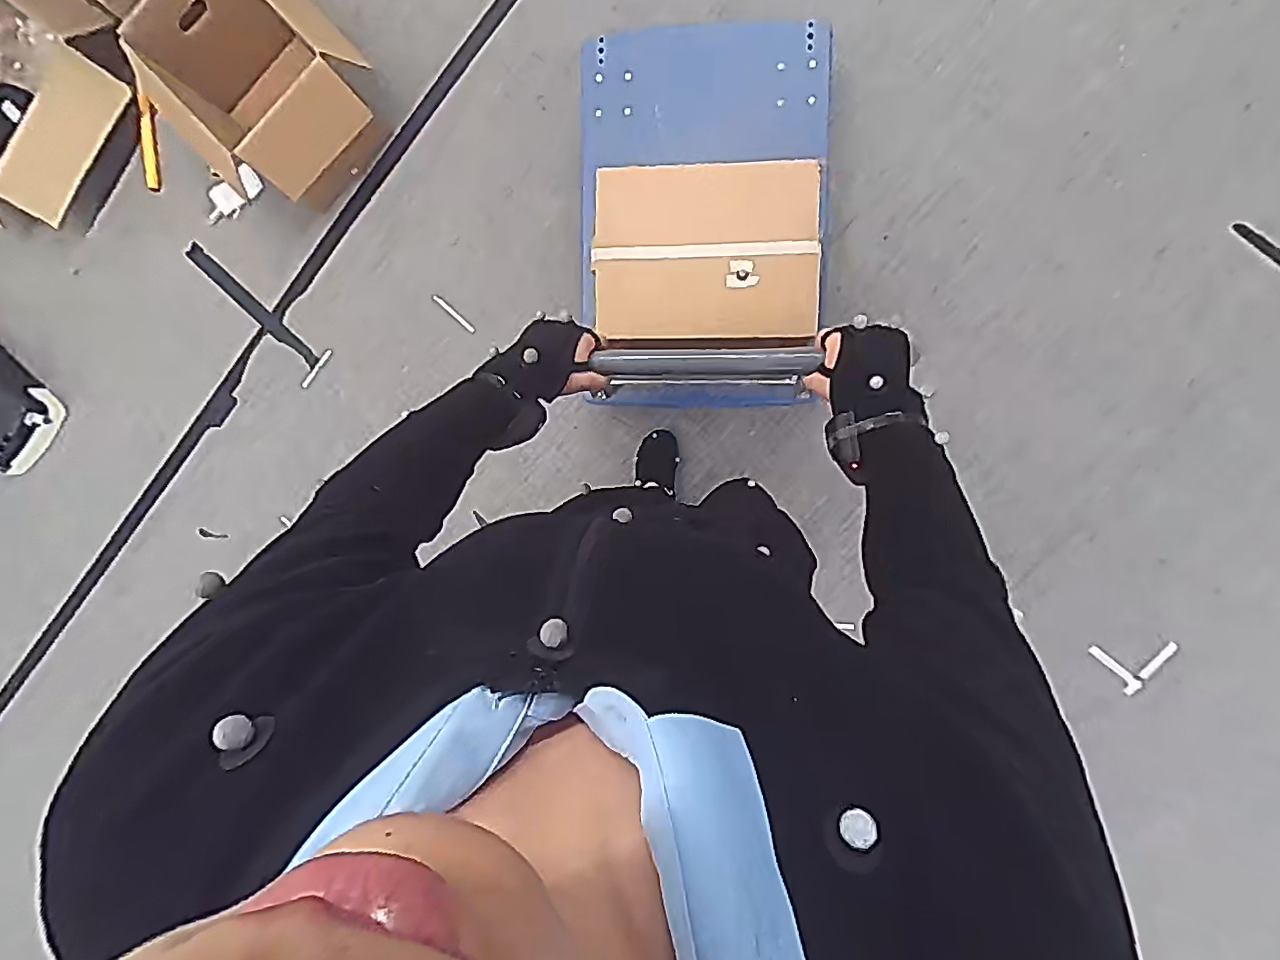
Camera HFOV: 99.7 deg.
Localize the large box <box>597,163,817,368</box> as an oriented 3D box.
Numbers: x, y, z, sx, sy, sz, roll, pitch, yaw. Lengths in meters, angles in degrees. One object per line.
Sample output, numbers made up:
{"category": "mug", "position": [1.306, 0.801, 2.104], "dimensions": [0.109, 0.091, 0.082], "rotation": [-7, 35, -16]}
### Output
{"category": "large box", "position": [0.128, -0.419, 1.135], "dimensions": [0.408, 0.320, 0.320], "rotation": [0, 93, 4]}
